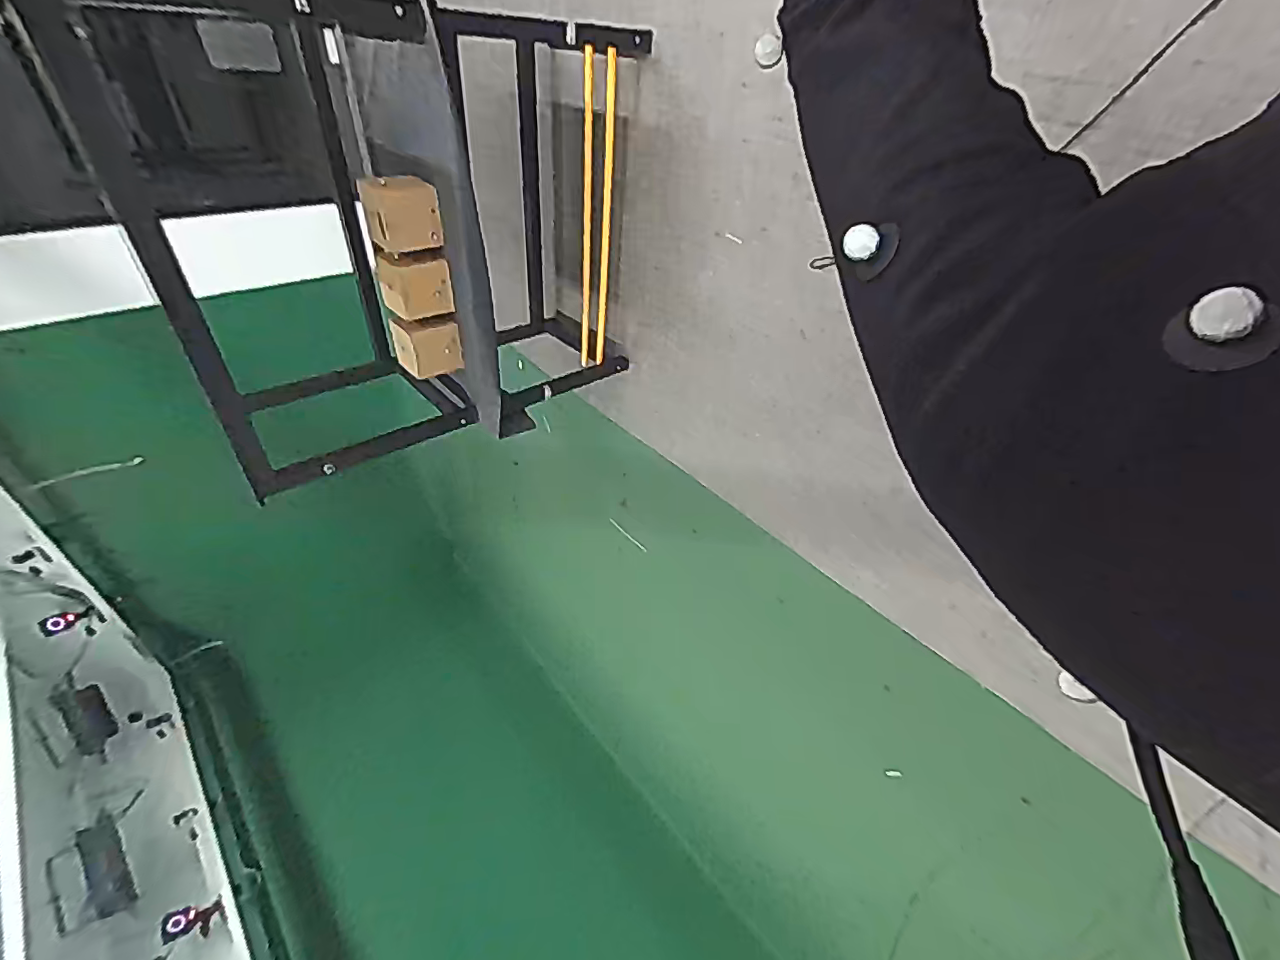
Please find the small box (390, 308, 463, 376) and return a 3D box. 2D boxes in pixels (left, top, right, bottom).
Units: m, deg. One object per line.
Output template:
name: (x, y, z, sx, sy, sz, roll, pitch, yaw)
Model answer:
small box: (-0.737, -0.486, 1.878, 0.179, 0.176, 0.168, 35, 138, 34)
